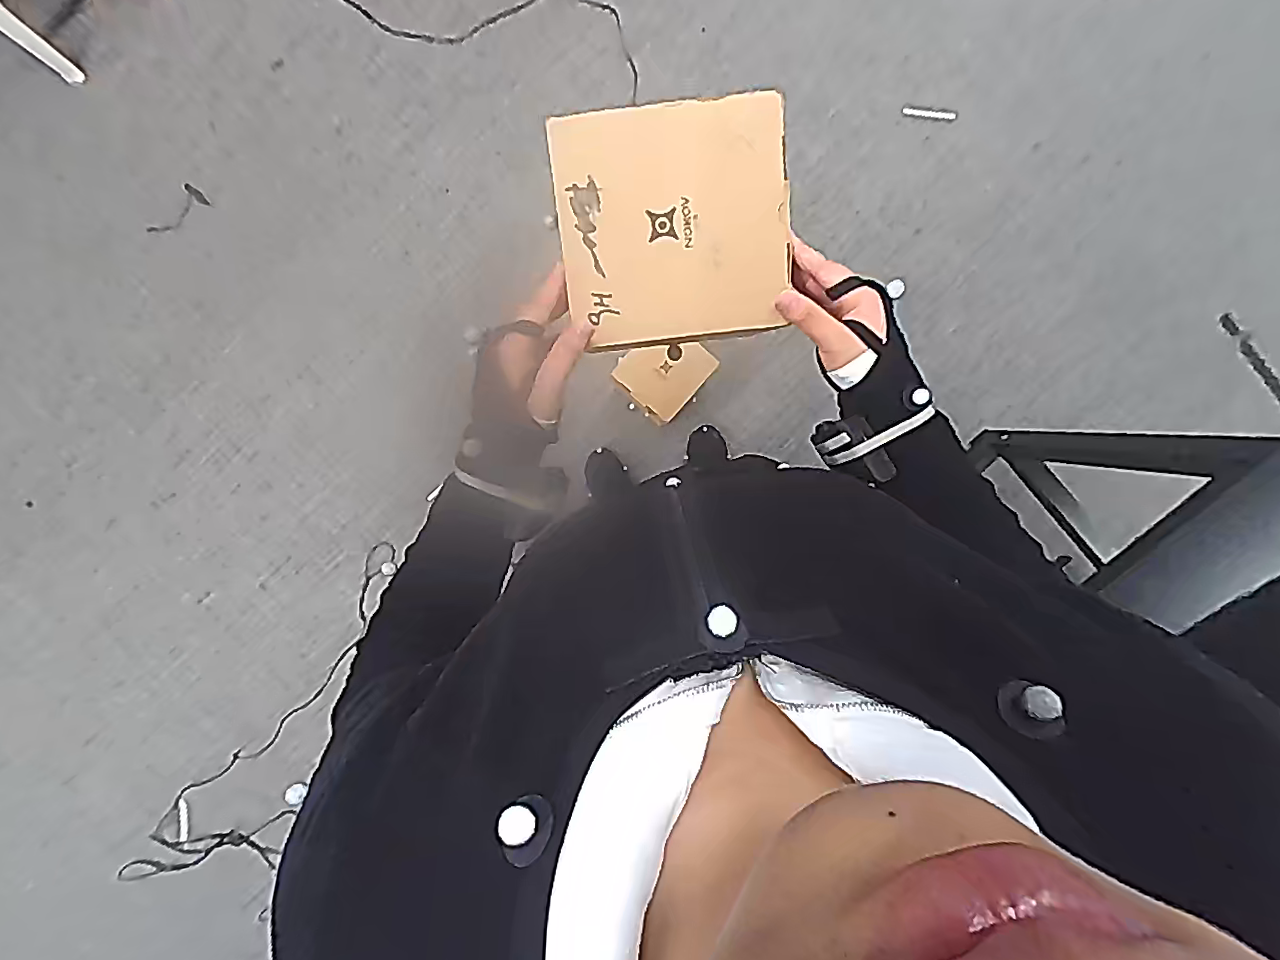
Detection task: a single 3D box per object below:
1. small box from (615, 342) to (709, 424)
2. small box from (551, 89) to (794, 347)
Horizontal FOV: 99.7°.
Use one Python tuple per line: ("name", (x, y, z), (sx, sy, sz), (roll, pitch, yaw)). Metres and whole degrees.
("small box", (0.052, -0.264, 1.396), (0.168, 0.176, 0.179), (44, 95, -3))
("small box", (0.025, -0.215, 0.489), (0.179, 0.176, 0.168), (-7, 101, 0))
